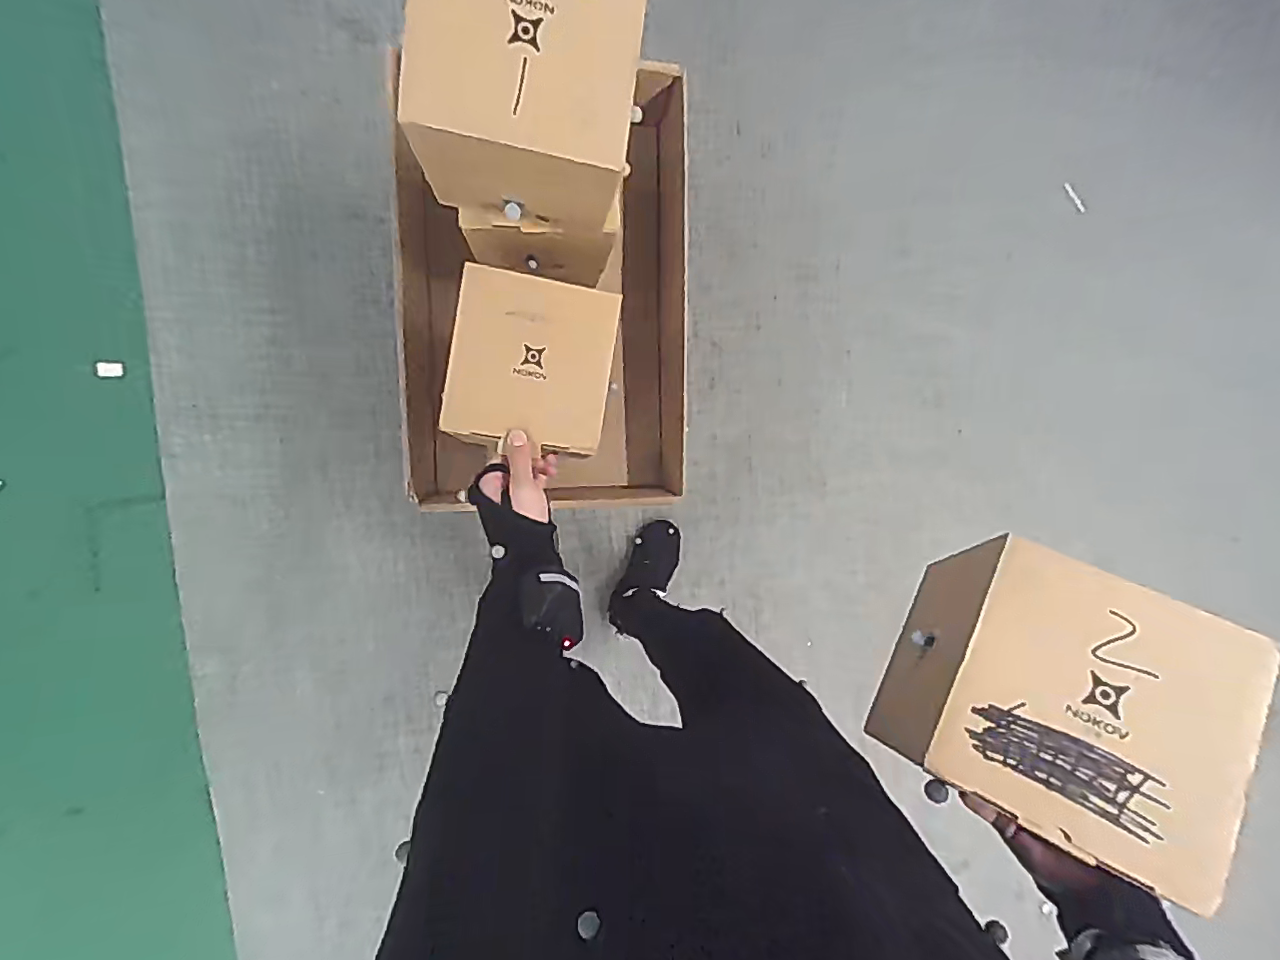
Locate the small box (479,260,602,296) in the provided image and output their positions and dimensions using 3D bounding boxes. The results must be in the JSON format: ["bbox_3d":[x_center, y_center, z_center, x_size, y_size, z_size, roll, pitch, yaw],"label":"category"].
[{"bbox_3d":[-0.145,-0.373,0.791,0.168,0.176,0.179,-2,98,-9],"label":"small box"}]

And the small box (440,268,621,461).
[{"bbox_3d":[-0.126,-0.120,0.646,0.168,0.176,0.179,9,89,-11],"label":"small box"}]

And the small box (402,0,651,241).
[{"bbox_3d":[-0.093,-0.335,0.471,0.168,0.176,0.179,7,97,-11],"label":"small box"}]

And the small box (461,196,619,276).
[{"bbox_3d":[-0.119,-0.352,0.633,0.168,0.176,0.179,-2,99,-11],"label":"small box"}]
